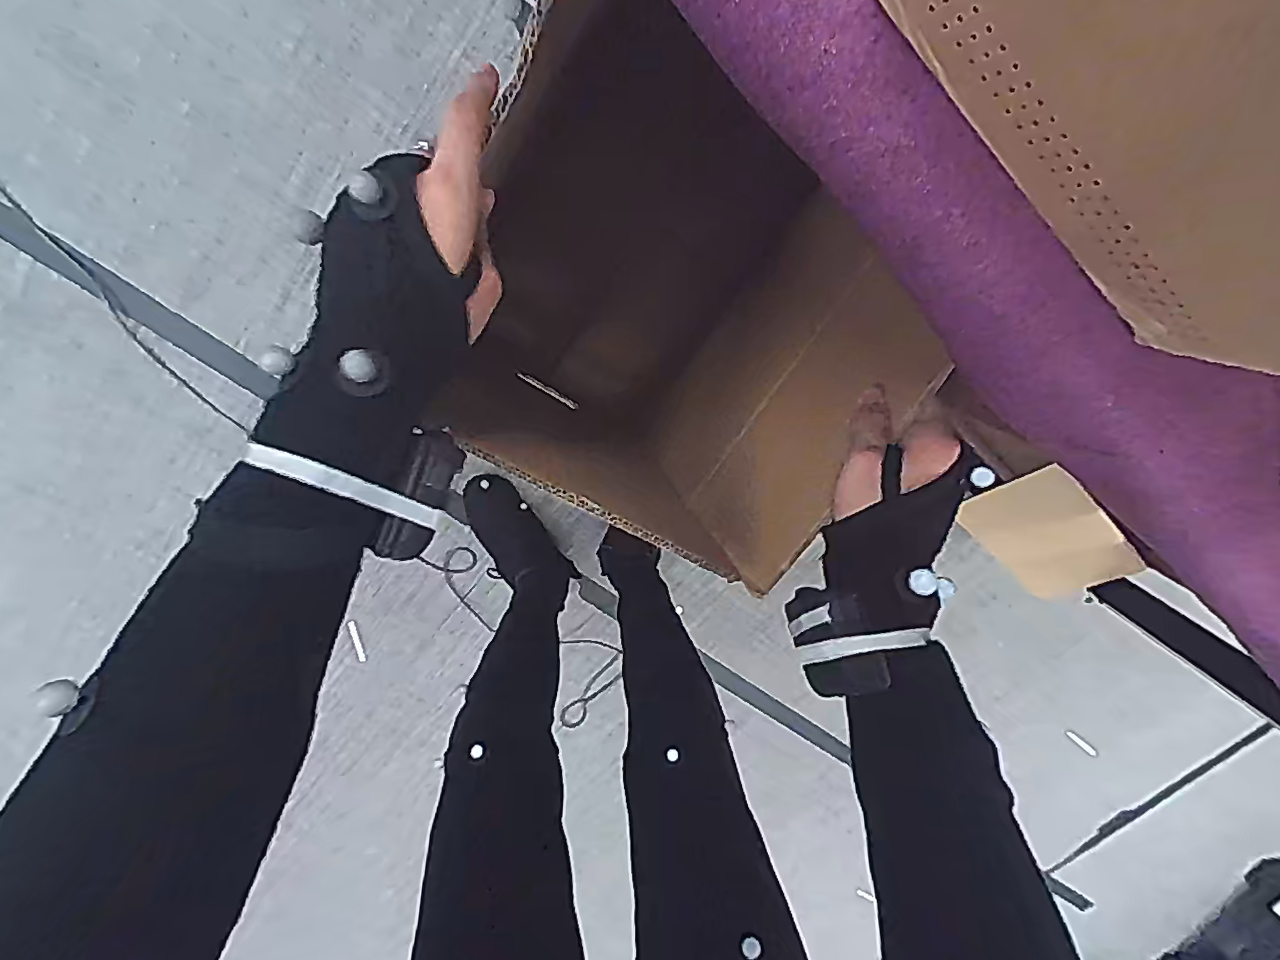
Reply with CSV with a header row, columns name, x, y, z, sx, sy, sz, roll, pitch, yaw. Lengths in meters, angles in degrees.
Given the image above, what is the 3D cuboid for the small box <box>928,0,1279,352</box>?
name,x,y,z,sx,sy,sz,roll,pitch,yaw
small box,0.198,-0.125,0.096,0.179,0.176,0.168,36,107,-20
